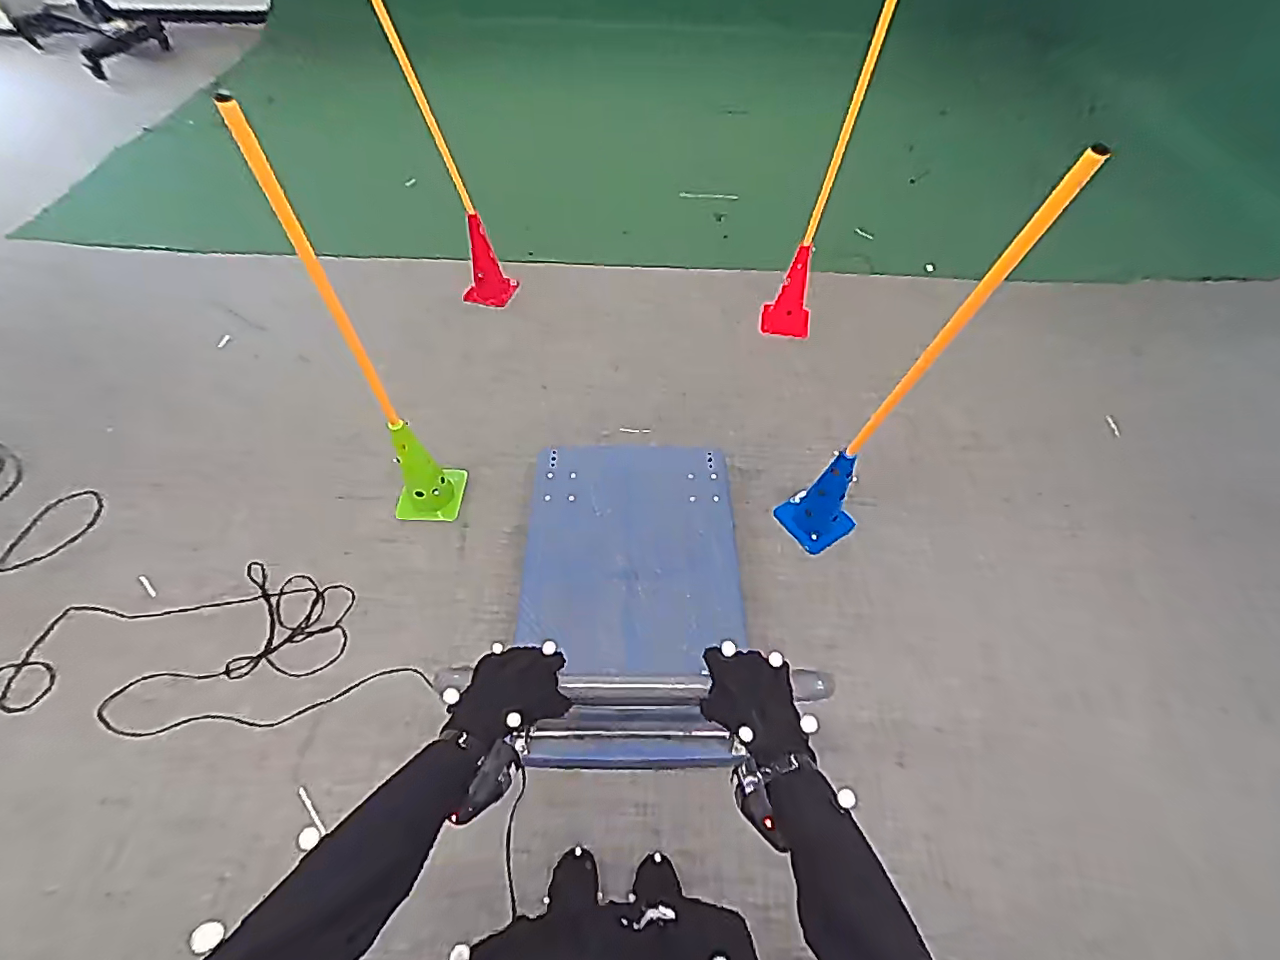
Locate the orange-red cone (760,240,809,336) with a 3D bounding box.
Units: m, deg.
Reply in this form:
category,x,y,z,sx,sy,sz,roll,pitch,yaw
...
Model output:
category,x,y,z,sx,sy,sz,roll,pitch,yaw
orange-red cone,0.617,-0.786,2.165,0.198,0.360,0.199,11,57,8
